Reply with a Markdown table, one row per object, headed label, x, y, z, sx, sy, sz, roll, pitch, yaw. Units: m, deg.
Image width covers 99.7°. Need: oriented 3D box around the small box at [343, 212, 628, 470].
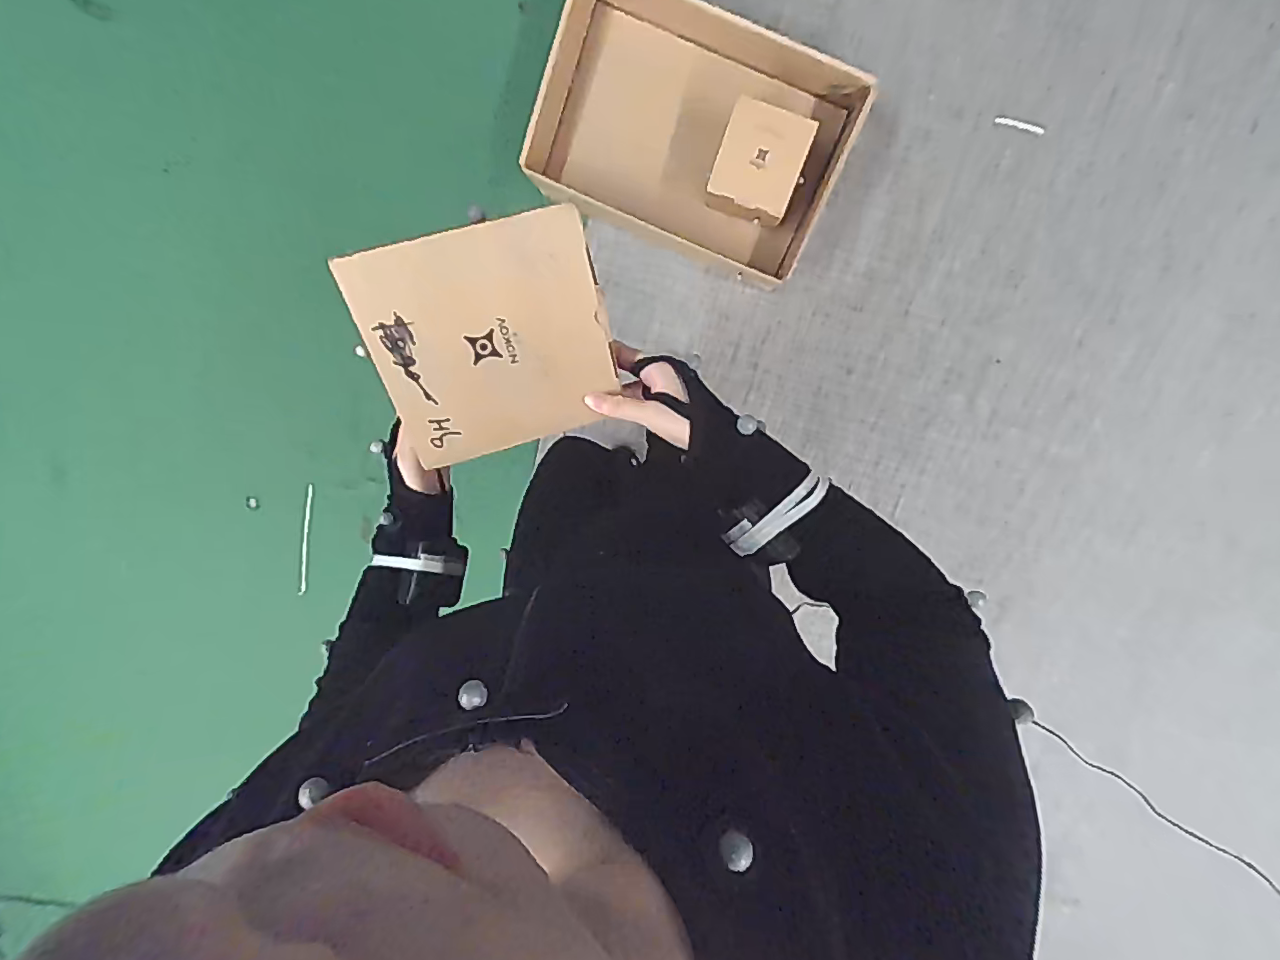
| label | x | y | z | sx | sy | sz | roll | pitch | yaw |
| --- | --- | --- | --- | --- | --- | --- | --- | --- | --- |
| small box | -0.127 | -0.135 | 0.482 | 0.179 | 0.176 | 0.168 | -17 | 118 | -8 |
